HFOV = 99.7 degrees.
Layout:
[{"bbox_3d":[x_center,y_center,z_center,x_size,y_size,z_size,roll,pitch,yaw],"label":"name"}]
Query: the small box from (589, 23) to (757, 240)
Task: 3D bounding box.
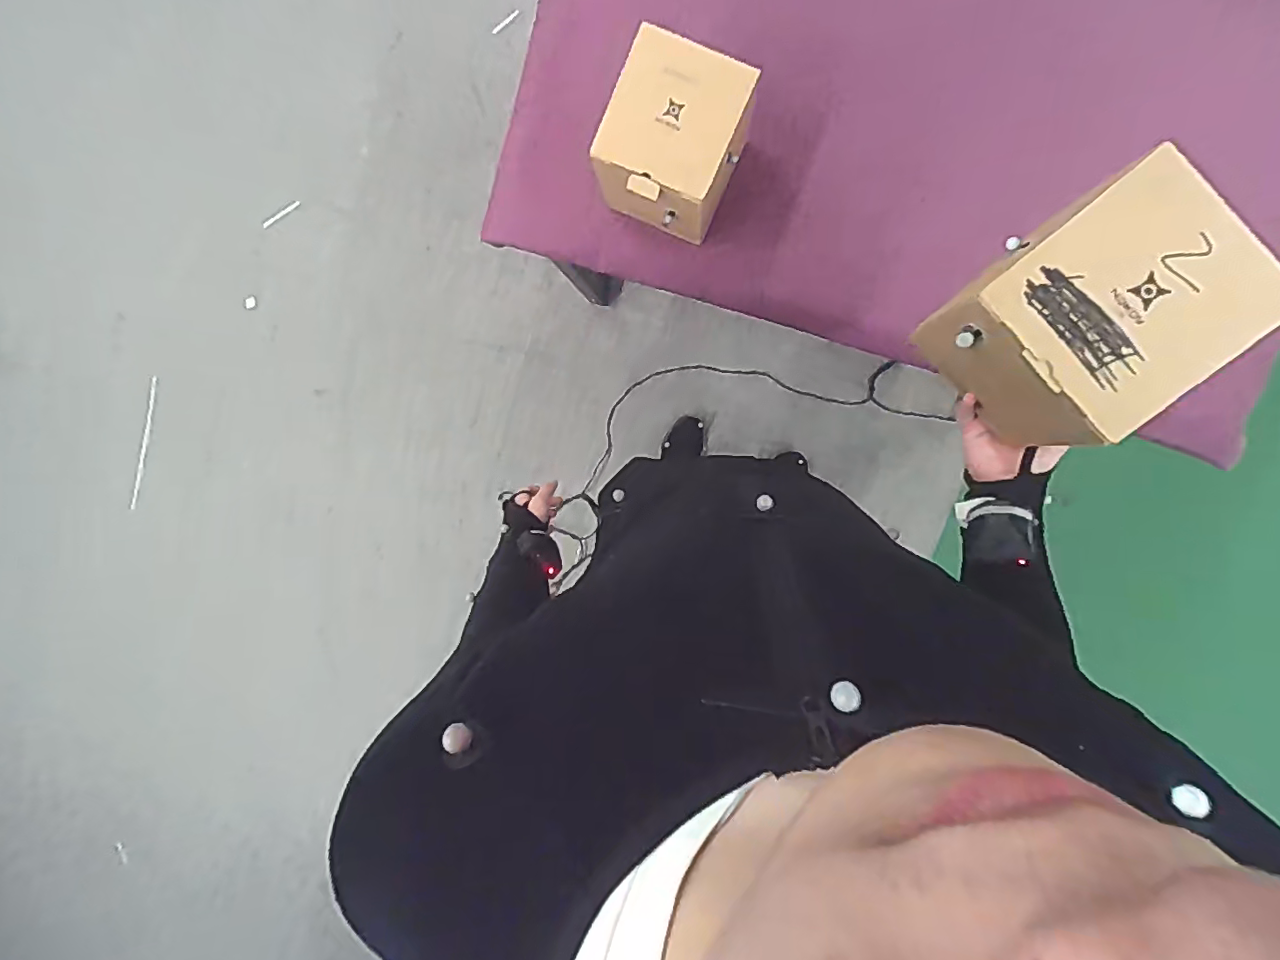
[{"bbox_3d":[0.048,-0.475,0.770,0.168,0.176,0.179,25,97,2],"label":"small box"}]
